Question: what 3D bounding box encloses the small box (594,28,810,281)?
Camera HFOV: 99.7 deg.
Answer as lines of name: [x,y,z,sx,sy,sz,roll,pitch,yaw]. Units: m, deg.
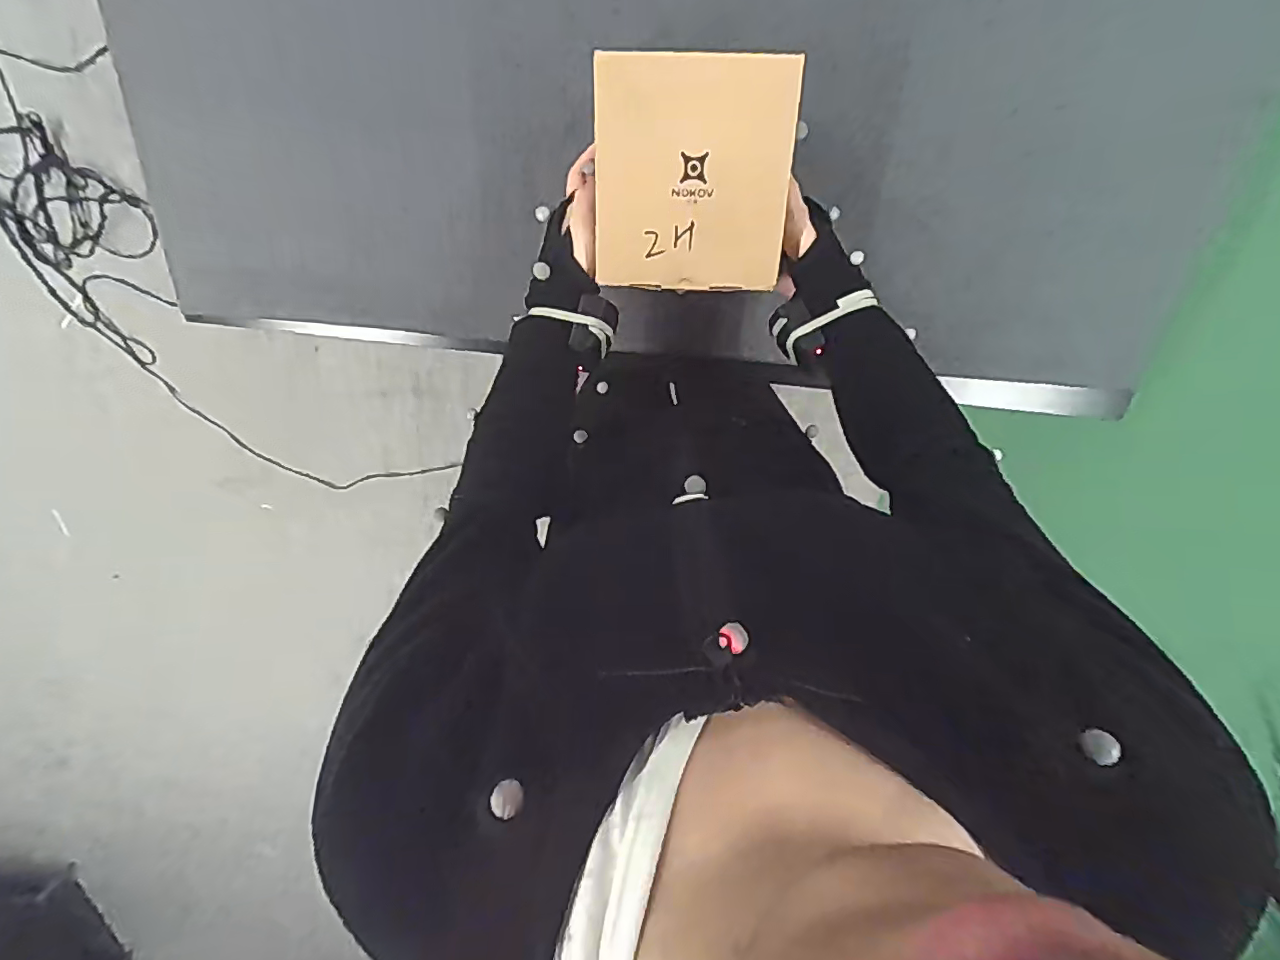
small box: [0.047,-0.289,0.513,0.168,0.176,0.179,3,115,2]
